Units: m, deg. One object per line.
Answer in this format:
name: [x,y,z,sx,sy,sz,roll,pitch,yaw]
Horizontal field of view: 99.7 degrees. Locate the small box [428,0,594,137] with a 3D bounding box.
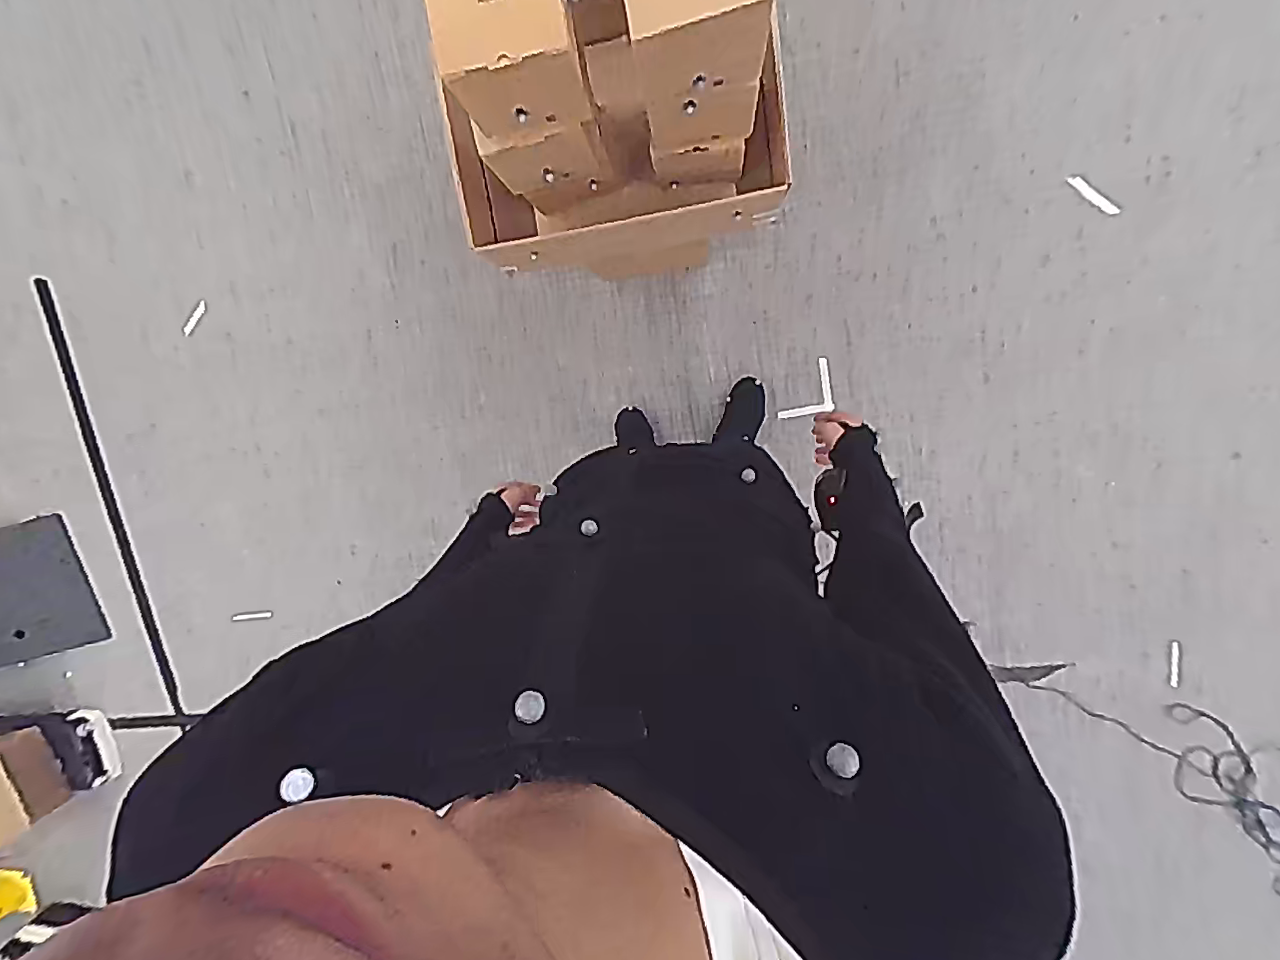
small box: [-0.166,-0.596,0.713,0.168,0.176,0.179,-9,99,7]

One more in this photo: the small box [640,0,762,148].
small box: [0.092,-0.650,0.832,0.168,0.176,0.179,-4,99,8]

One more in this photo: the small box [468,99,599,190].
small box: [-0.174,-0.607,0.878,0.168,0.176,0.179,-12,99,7]
